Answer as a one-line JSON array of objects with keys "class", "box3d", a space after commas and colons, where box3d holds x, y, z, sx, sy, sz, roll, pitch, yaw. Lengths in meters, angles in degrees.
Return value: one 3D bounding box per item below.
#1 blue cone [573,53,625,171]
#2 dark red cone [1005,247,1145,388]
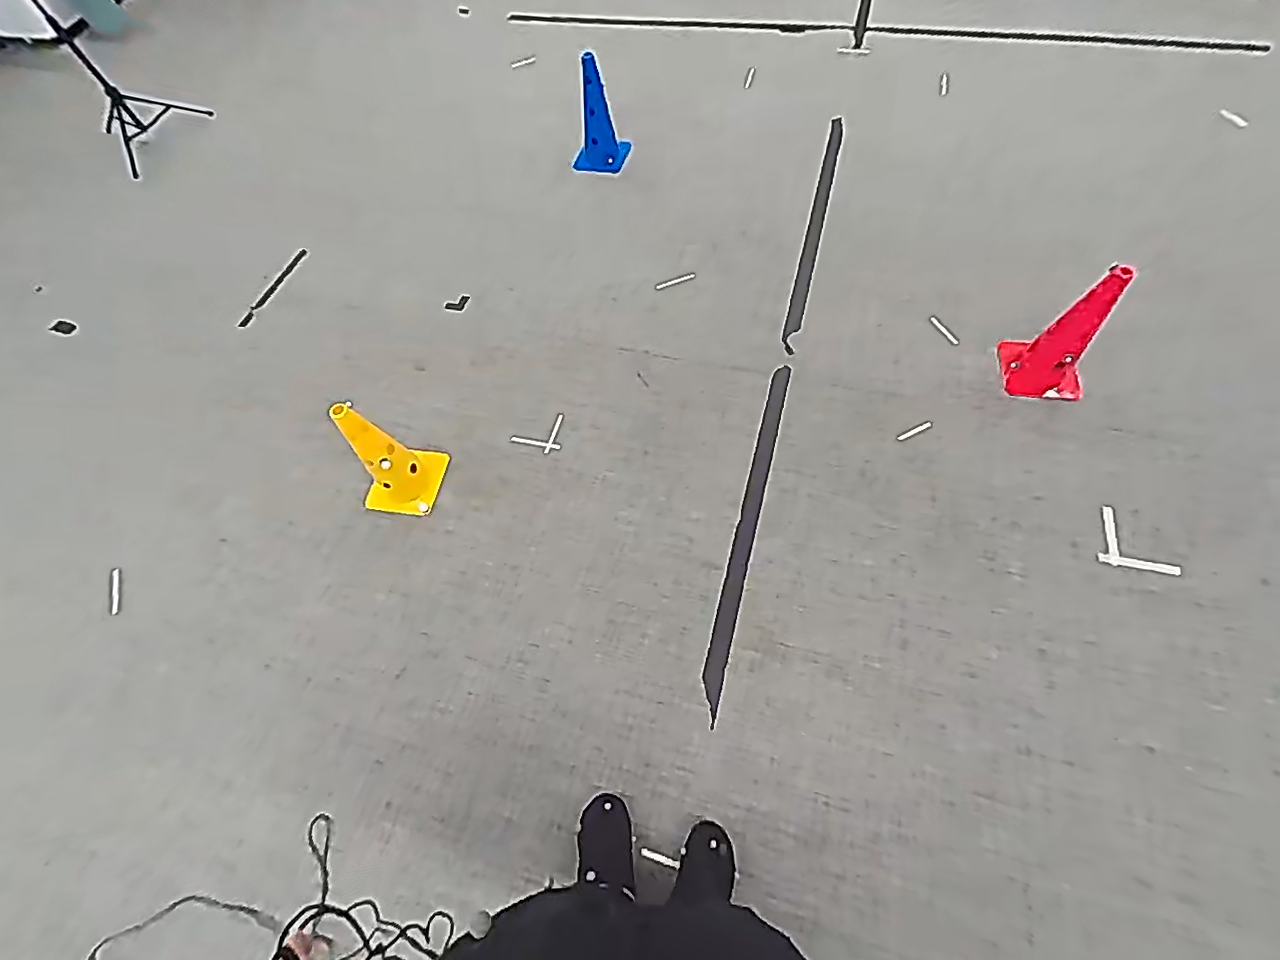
[{"class": "blue cone", "box3d": [-0.182, -1.390, 2.044, 0.192, 0.380, 0.193, 12, 64, 13]}, {"class": "dark red cone", "box3d": [1.127, -0.420, 1.377, 0.201, 0.394, 0.202, 5, 63, 9]}]
